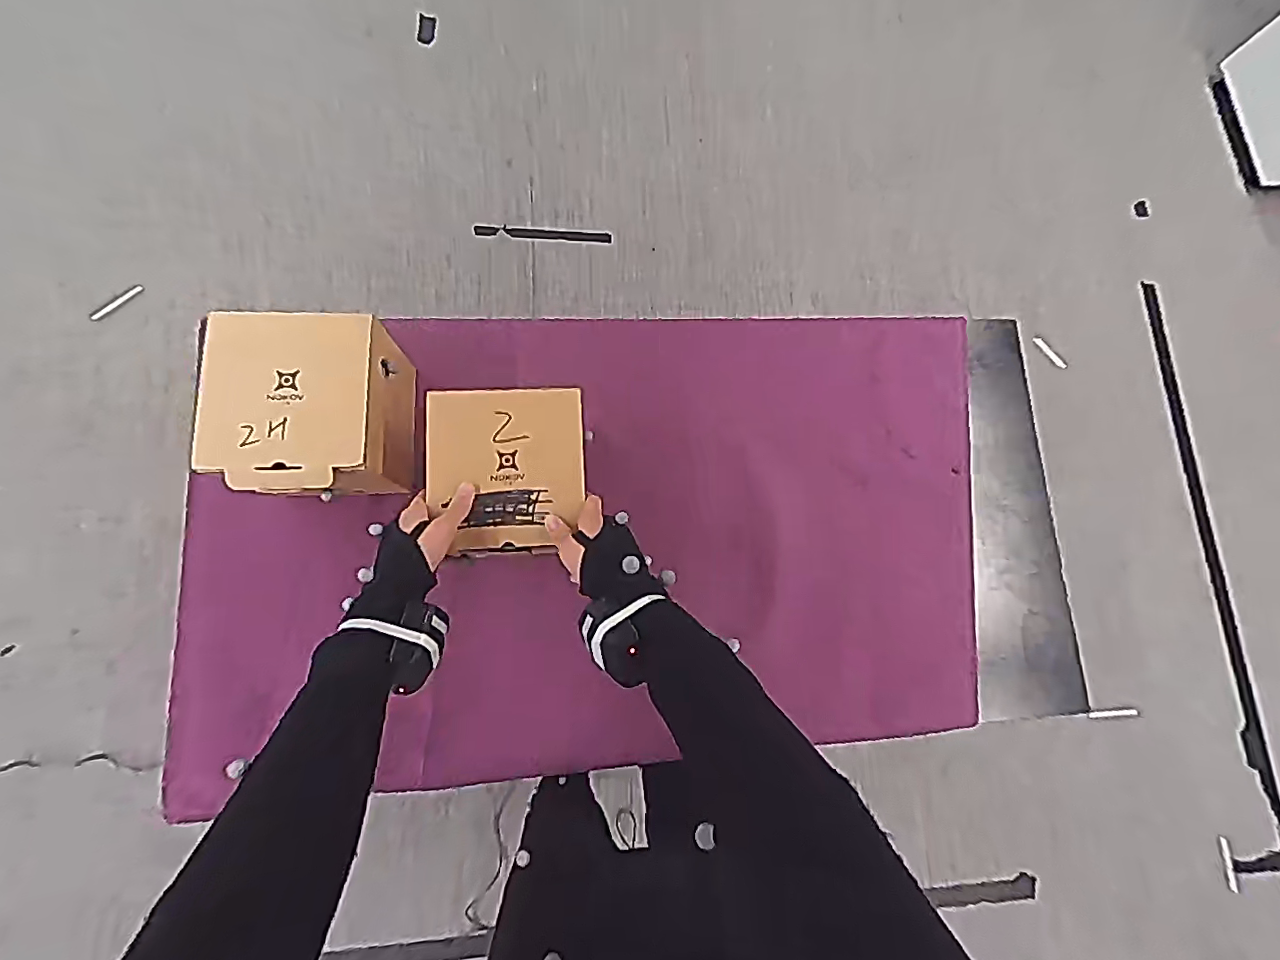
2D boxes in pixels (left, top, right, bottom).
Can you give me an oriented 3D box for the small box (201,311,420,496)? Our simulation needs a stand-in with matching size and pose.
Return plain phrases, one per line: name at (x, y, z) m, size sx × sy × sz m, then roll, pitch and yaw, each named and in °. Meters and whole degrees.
small box at (-0.371, -0.080, 0.645) m, size 0.168 × 0.176 × 0.179 m, roll 0°, pitch 80°, yaw -7°
